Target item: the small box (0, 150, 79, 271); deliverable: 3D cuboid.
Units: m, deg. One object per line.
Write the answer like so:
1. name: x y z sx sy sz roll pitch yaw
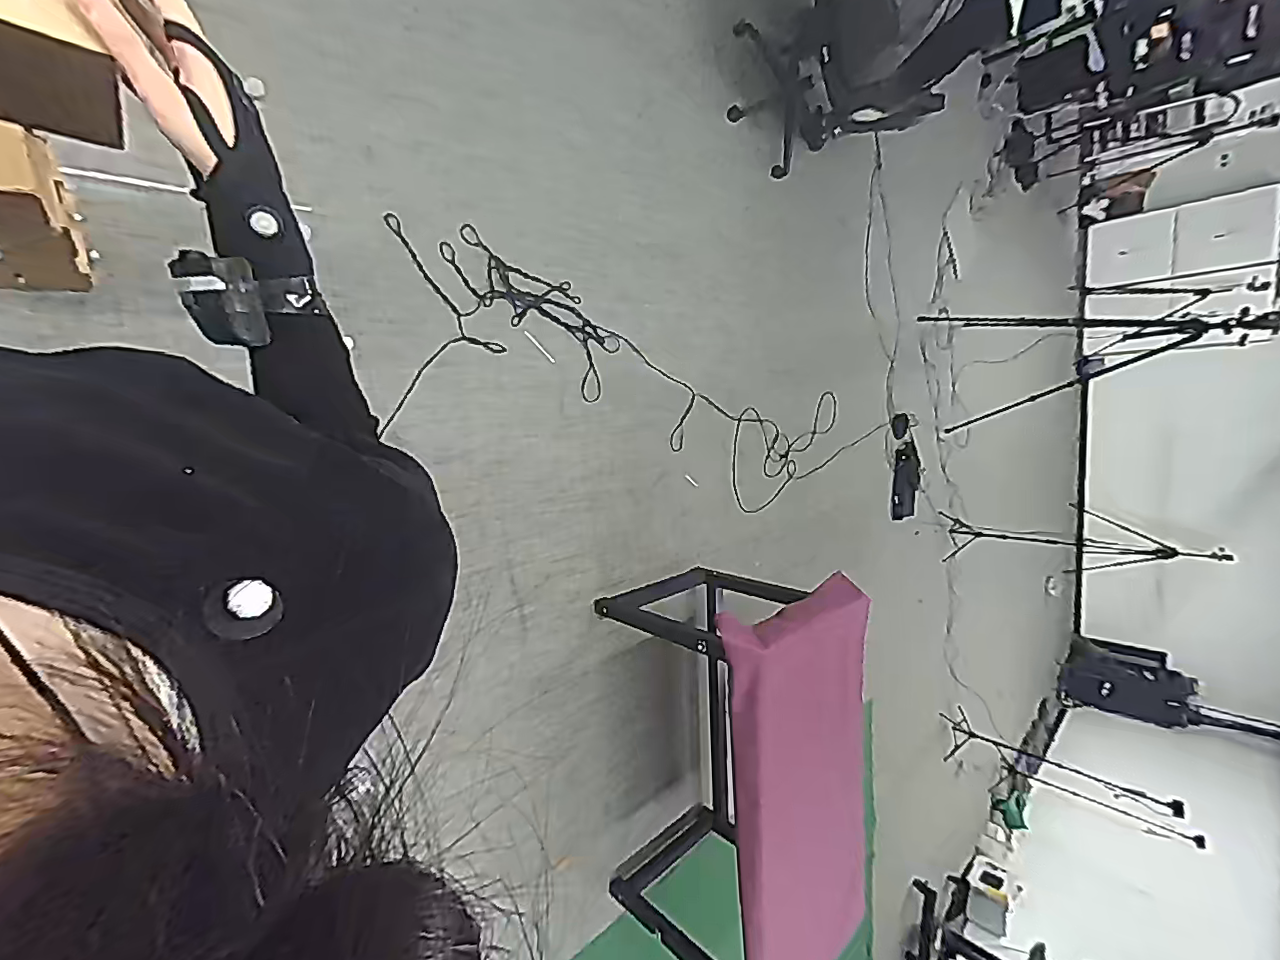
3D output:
1. small box: -0.996 -0.425 0.818 0.179 0.176 0.168 -11 101 -42

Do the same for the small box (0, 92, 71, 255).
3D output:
1. small box: -0.882 -0.402 0.703 0.179 0.176 0.168 -14 102 -41

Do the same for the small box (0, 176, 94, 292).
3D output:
1. small box: -1.099 -0.434 0.946 0.179 0.176 0.168 -12 101 -42

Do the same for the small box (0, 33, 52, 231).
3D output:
1. small box: -0.776 -0.389 0.579 0.168 0.176 0.179 -14 104 -40
